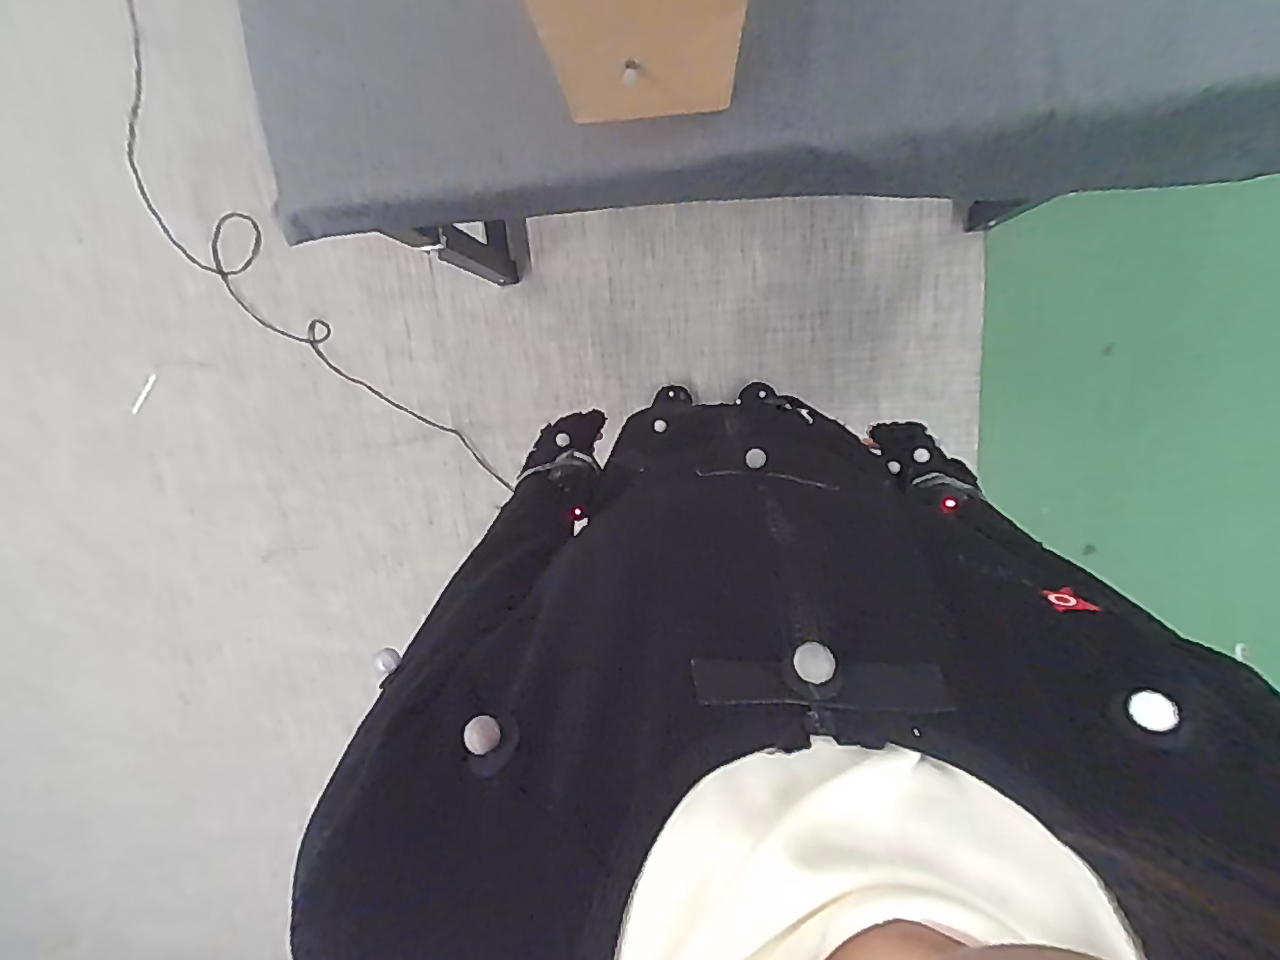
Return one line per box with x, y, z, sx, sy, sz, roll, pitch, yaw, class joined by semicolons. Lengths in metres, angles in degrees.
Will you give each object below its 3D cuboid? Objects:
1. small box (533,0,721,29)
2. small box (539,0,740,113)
-0.009;-0.455;0.365;0.179;0.176;0.168;-2;98;6;small box
0.005;-0.487;0.524;0.179;0.176;0.168;-2;100;6;small box
